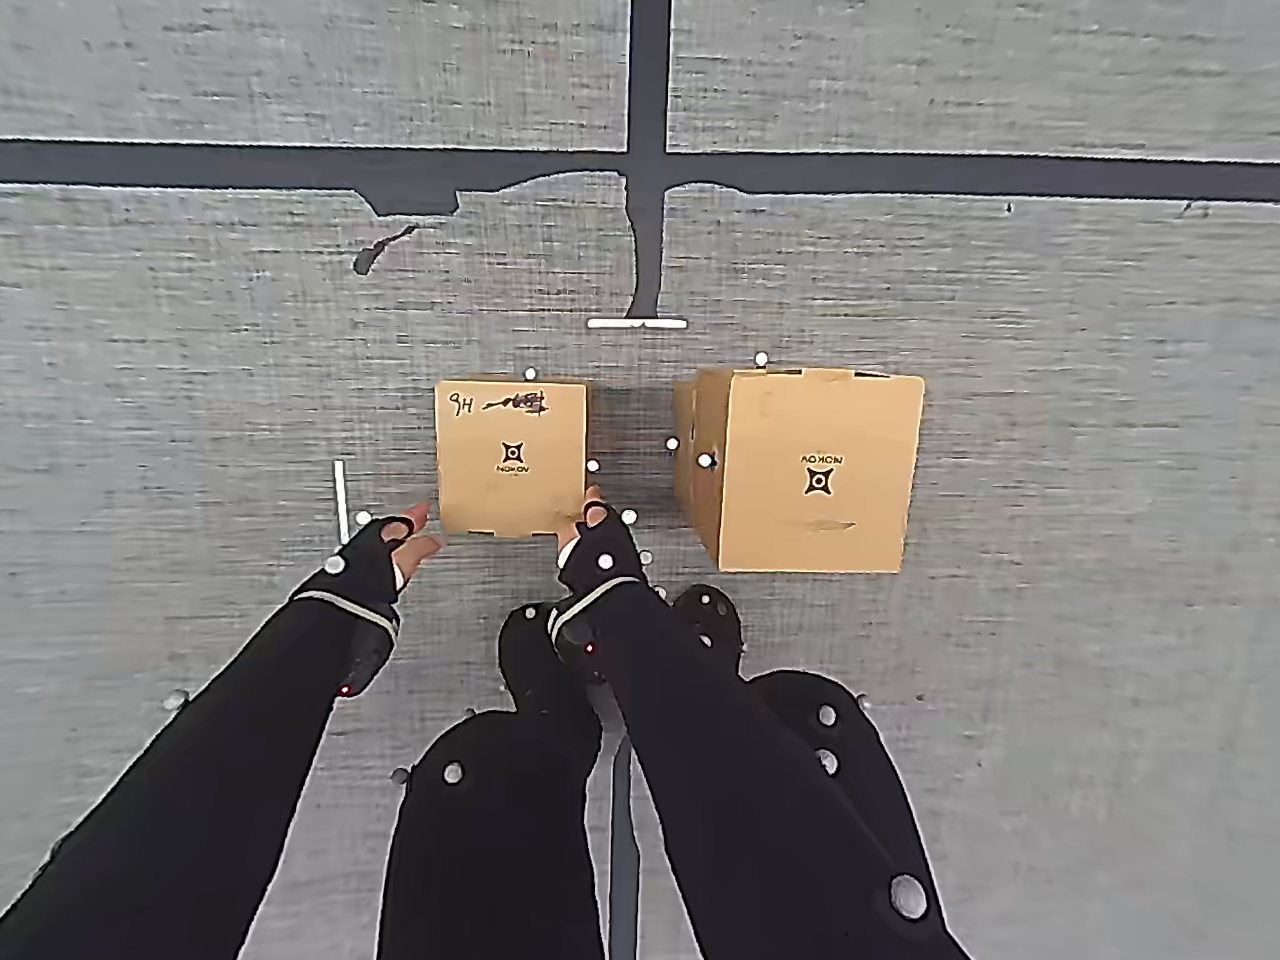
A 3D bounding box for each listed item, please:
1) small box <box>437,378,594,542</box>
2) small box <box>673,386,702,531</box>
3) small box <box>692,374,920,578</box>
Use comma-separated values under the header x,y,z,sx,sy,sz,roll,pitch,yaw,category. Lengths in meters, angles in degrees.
x,y,z,sx,sy,sz,roll,pitch,yaw,category
-0.147,-0.033,0.687,0.168,0.176,0.179,2,102,-3,small box
0.142,-0.037,0.705,0.179,0.176,0.168,-1,102,-3,small box
0.147,-0.015,0.543,0.168,0.176,0.179,1,103,-3,small box
